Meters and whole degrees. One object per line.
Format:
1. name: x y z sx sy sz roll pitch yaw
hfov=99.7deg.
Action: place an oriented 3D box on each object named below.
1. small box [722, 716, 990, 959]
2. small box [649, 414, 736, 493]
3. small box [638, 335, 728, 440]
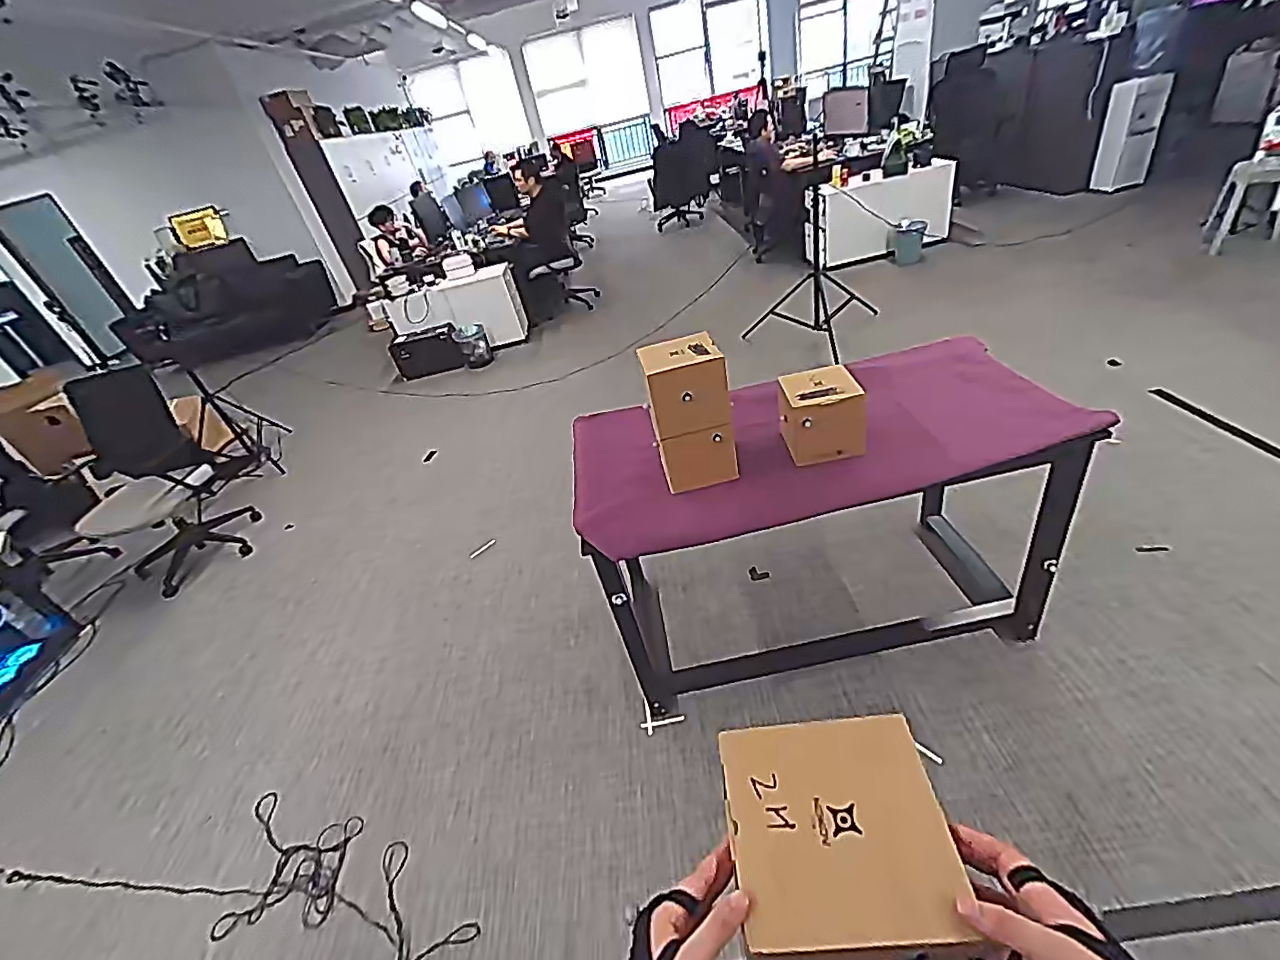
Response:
1. small box: 0.177 0.343 0.500 0.179 0.176 0.168 -9 39 7
2. small box: 0.134 -0.088 1.367 0.179 0.176 0.168 -14 35 0
3. small box: 0.103 -0.217 1.269 0.179 0.176 0.168 -14 34 0
